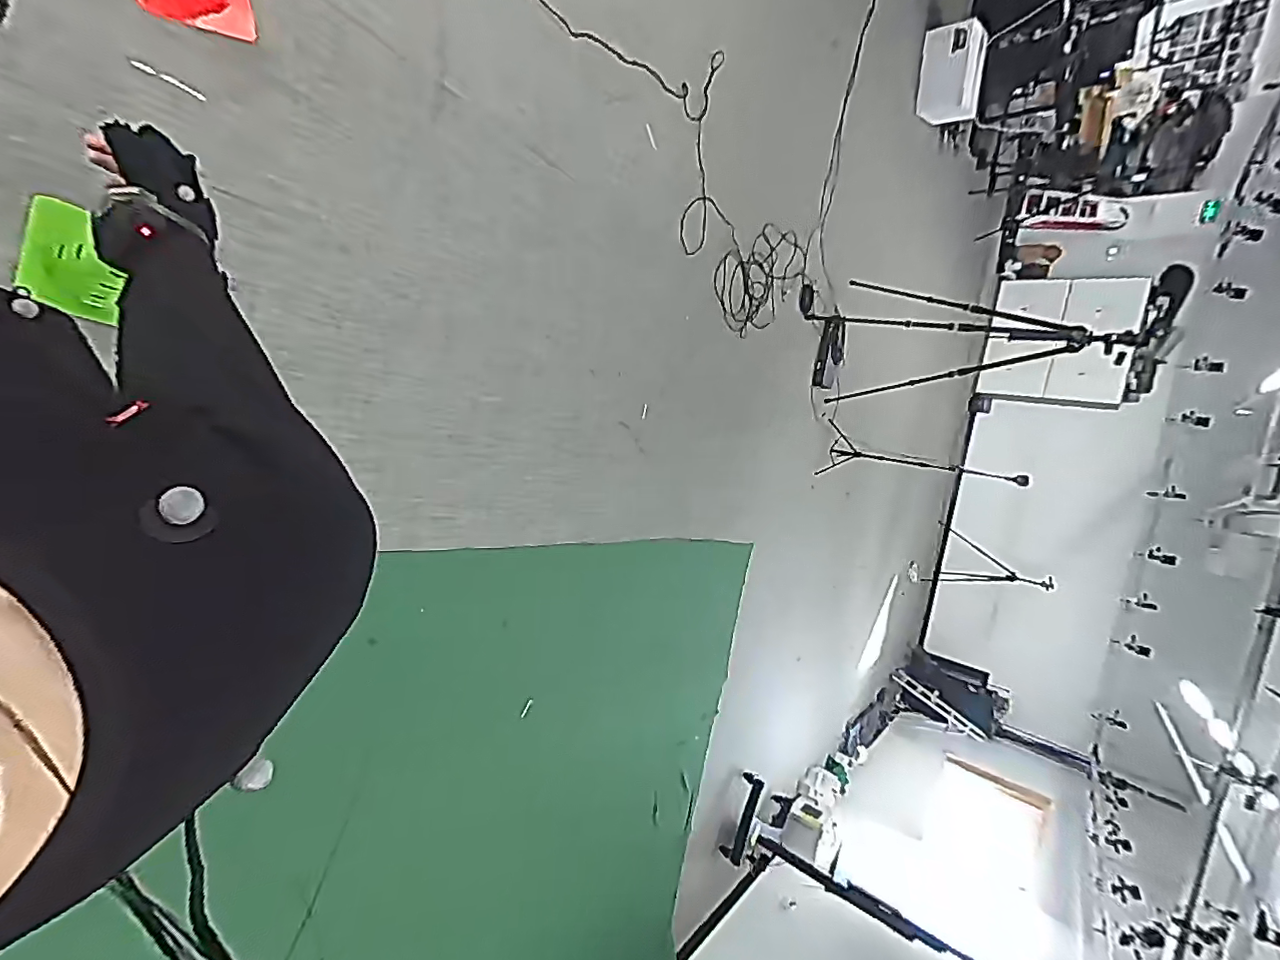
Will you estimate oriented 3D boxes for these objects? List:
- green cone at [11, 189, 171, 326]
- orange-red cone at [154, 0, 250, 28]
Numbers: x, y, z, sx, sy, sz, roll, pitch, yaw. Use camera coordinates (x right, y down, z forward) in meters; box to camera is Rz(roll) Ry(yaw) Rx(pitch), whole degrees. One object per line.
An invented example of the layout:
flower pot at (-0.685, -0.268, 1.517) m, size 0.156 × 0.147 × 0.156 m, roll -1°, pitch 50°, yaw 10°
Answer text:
green cone at (-0.919, -0.391, 0.942) m, size 0.200 × 0.368 × 0.202 m, roll 11°, pitch 92°, yaw -53°
orange-red cone at (-0.762, -0.993, 0.952) m, size 0.198 × 0.360 × 0.199 m, roll -20°, pitch 118°, yaw -46°
